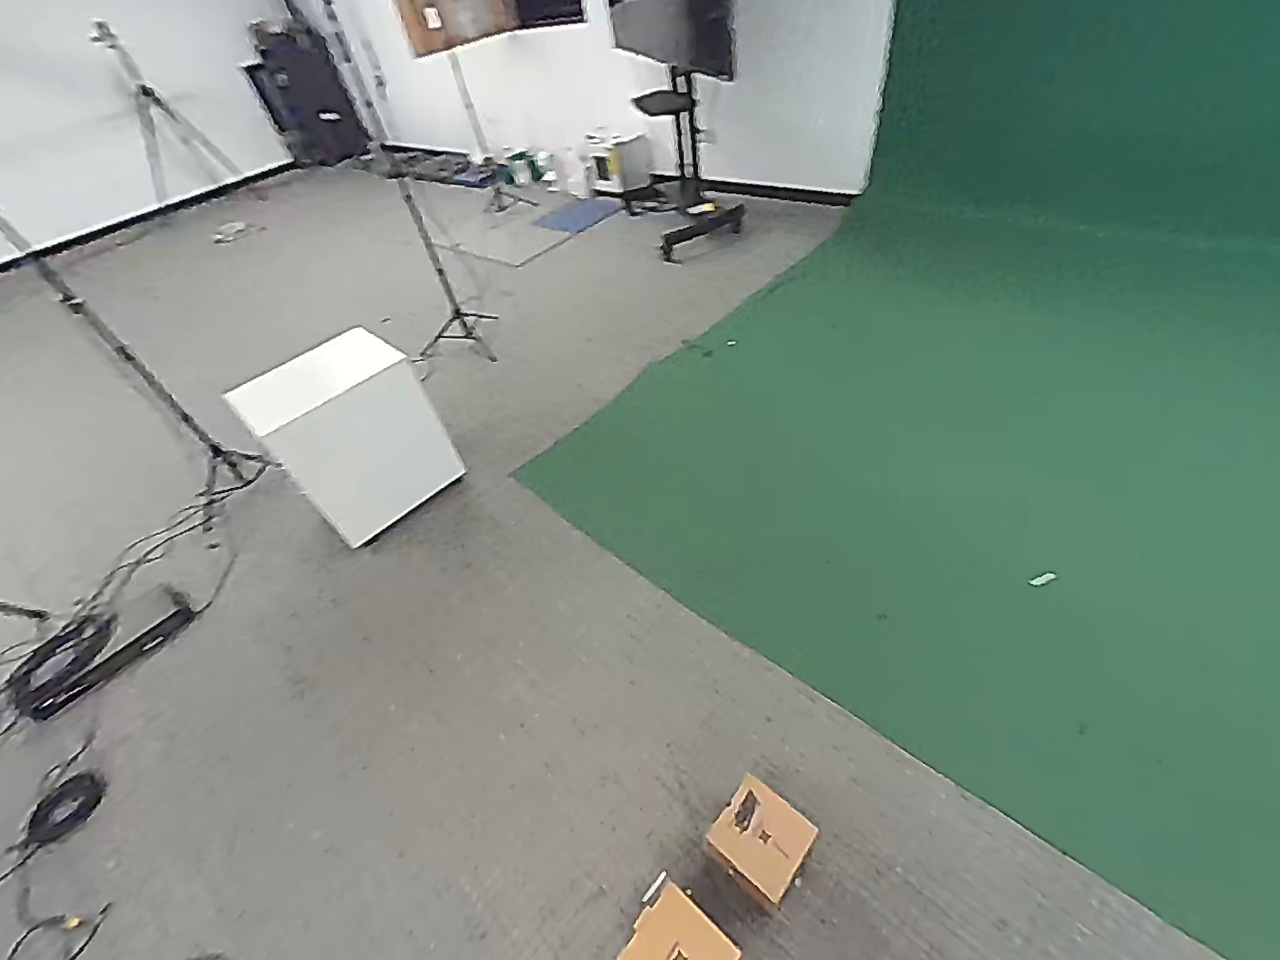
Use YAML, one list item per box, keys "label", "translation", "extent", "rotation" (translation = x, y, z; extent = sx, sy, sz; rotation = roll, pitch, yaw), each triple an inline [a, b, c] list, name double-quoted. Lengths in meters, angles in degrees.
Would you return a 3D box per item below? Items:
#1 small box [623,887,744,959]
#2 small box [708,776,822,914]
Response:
- label: "small box"
  translation: [0.087, 0.945, 1.049]
  extent: [0.179, 0.176, 0.168]
  rotation: [27, 55, 33]
- label: "small box"
  translation: [0.266, 0.791, 1.167]
  extent: [0.179, 0.176, 0.168]
  rotation: [28, 56, 32]
